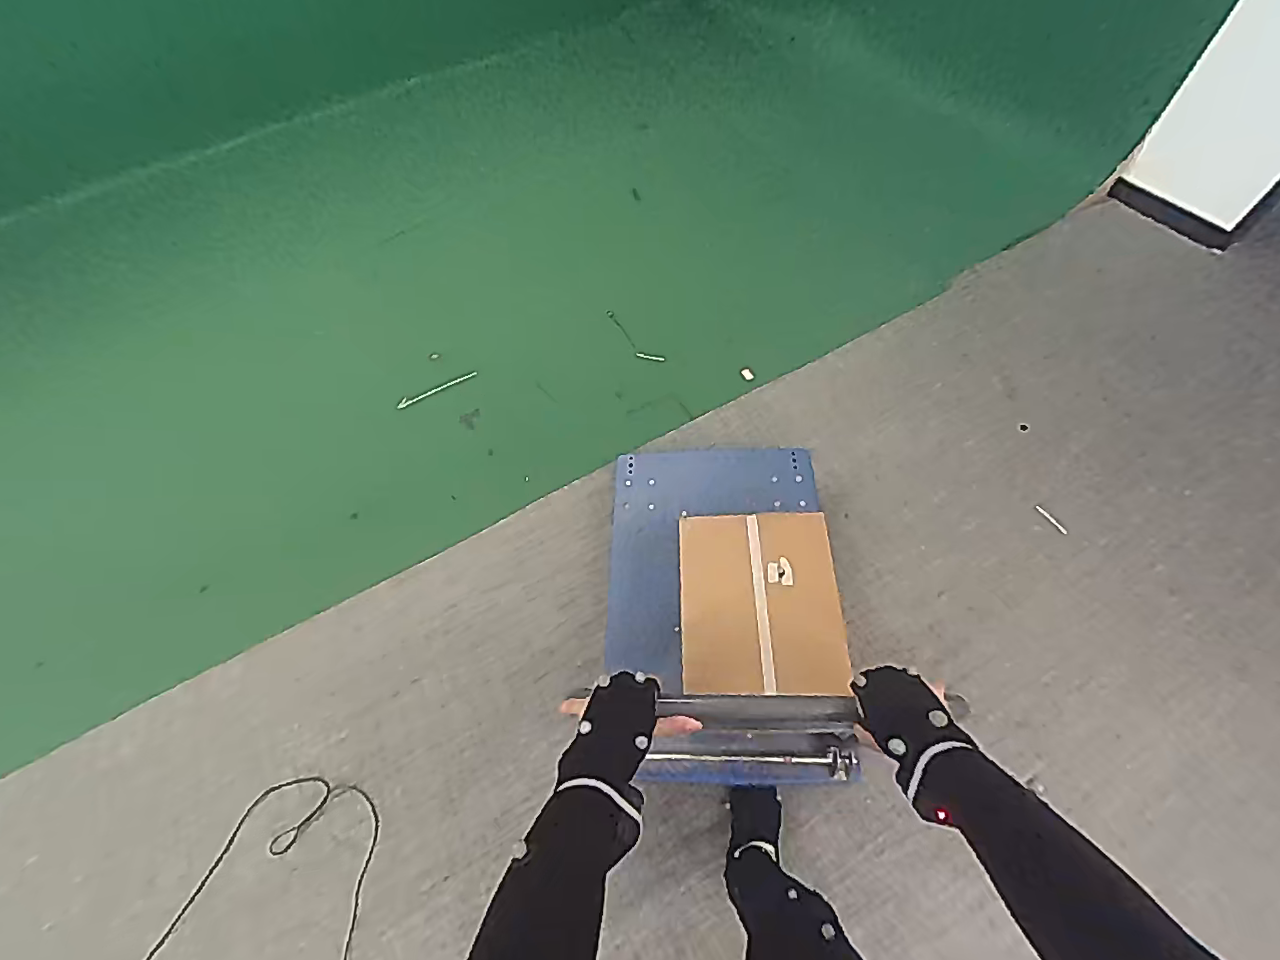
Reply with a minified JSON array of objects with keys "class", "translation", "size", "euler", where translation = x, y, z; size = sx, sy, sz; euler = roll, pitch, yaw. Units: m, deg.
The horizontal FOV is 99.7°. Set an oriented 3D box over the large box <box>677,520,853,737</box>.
[{"class":"large box","translation":[0.251,0.342,1.220],"size":[0.320,0.320,0.408],"euler":[-2,58,4]}]
